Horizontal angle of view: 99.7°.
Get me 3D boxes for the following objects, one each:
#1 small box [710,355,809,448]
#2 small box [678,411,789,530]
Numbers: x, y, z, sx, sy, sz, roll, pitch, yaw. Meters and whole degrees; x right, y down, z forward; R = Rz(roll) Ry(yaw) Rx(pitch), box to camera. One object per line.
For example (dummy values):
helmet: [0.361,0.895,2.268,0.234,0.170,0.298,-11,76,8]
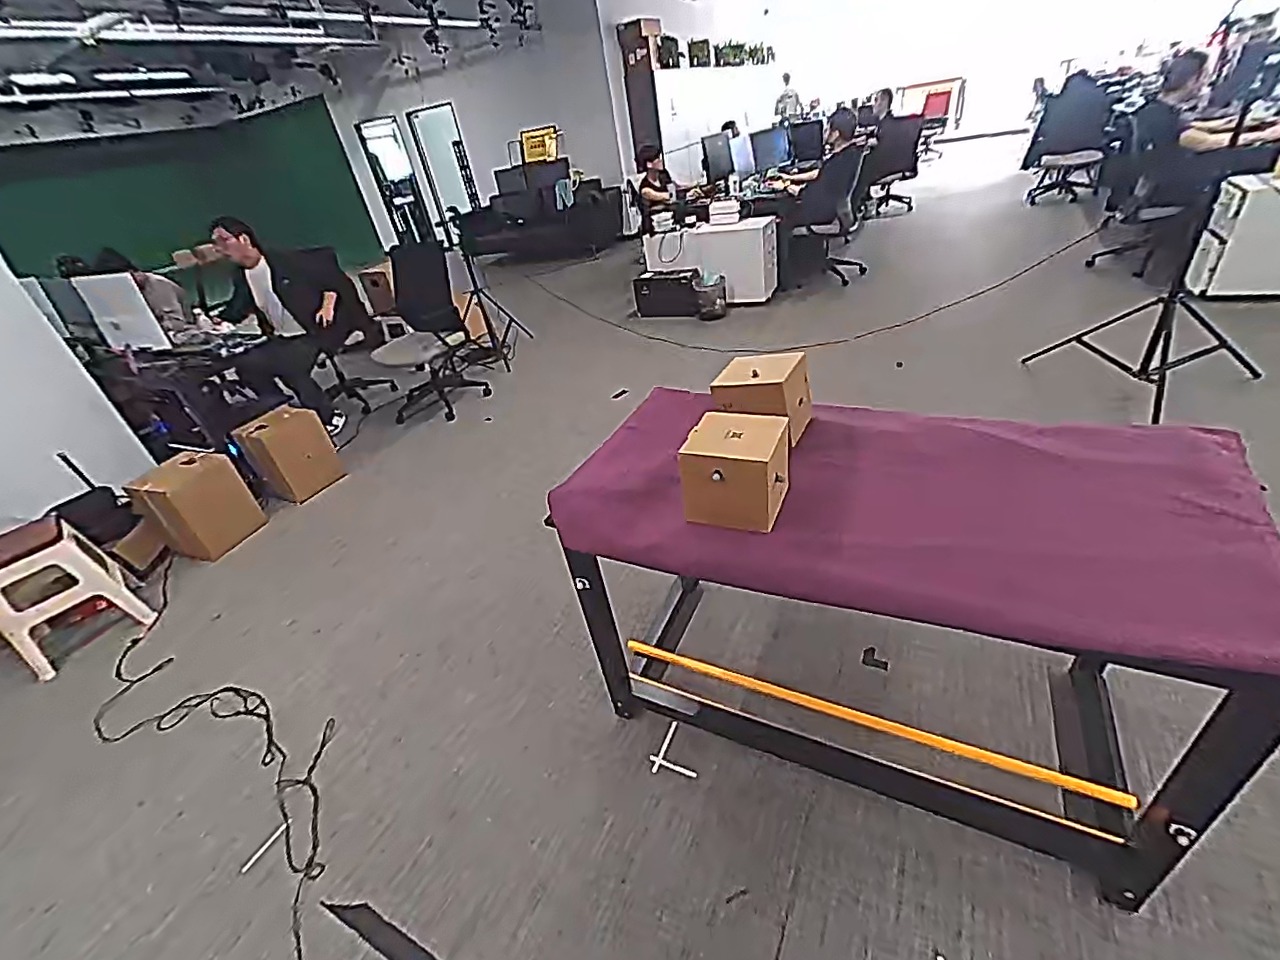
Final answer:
small box: [0.290,-0.187,1.273,0.179,0.168,0.176,4,34,34]
small box: [0.193,-0.020,1.077,0.179,0.176,0.168,7,37,26]
